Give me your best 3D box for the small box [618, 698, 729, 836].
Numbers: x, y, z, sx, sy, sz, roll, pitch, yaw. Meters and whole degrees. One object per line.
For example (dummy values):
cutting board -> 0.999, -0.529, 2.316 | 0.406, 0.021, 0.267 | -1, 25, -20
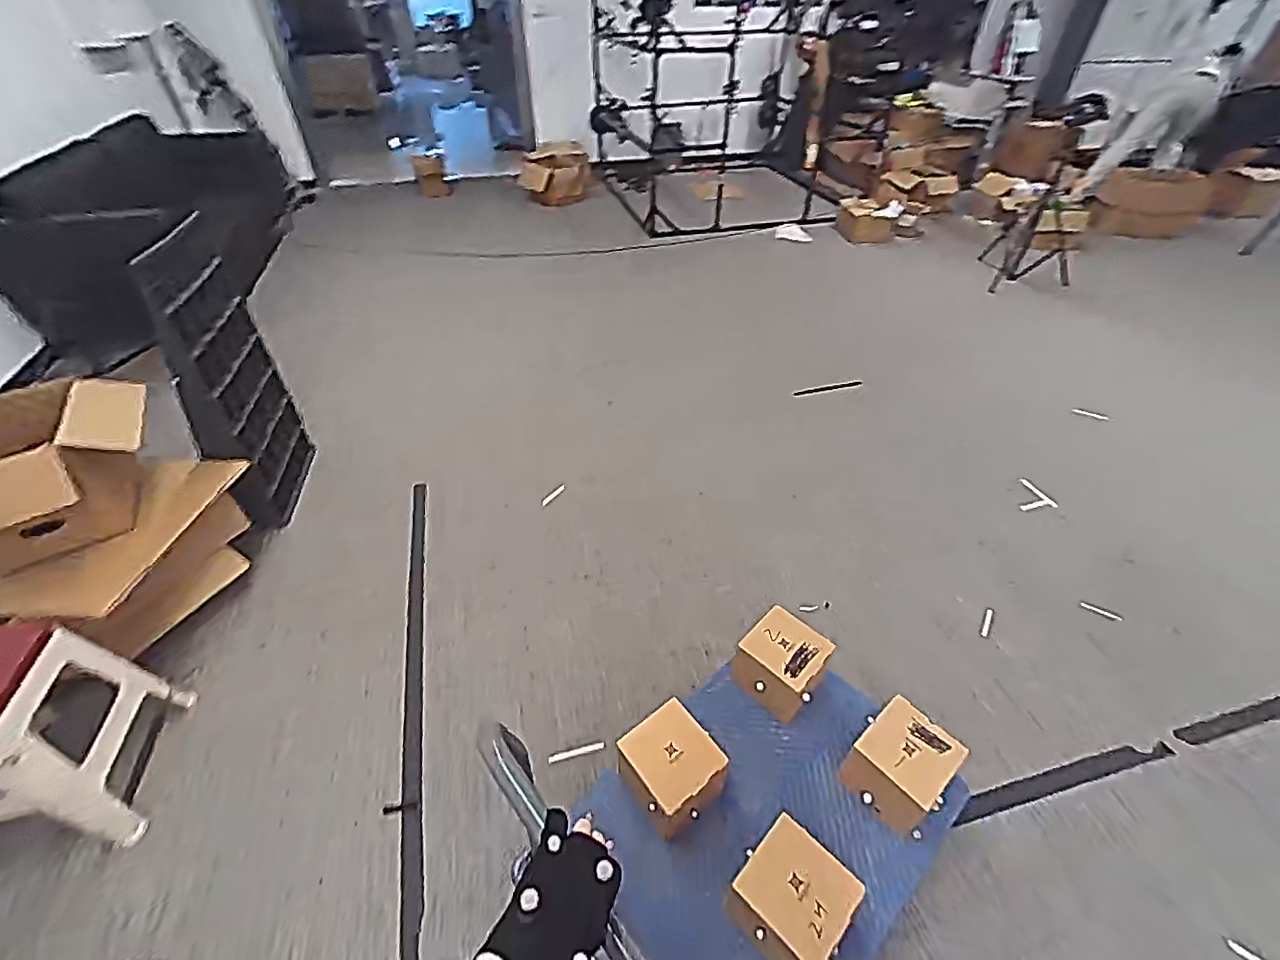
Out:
small box -> 0.064, 0.619, 1.165 | 0.168, 0.176, 0.179 | -27, 50, -28

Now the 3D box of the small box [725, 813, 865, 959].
small box -> 0.274, 0.770, 0.995 | 0.168, 0.176, 0.179 | -33, 51, -32

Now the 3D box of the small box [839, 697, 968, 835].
small box -> 0.559, 0.618, 1.169 | 0.179, 0.176, 0.168 | -30, 50, -28
